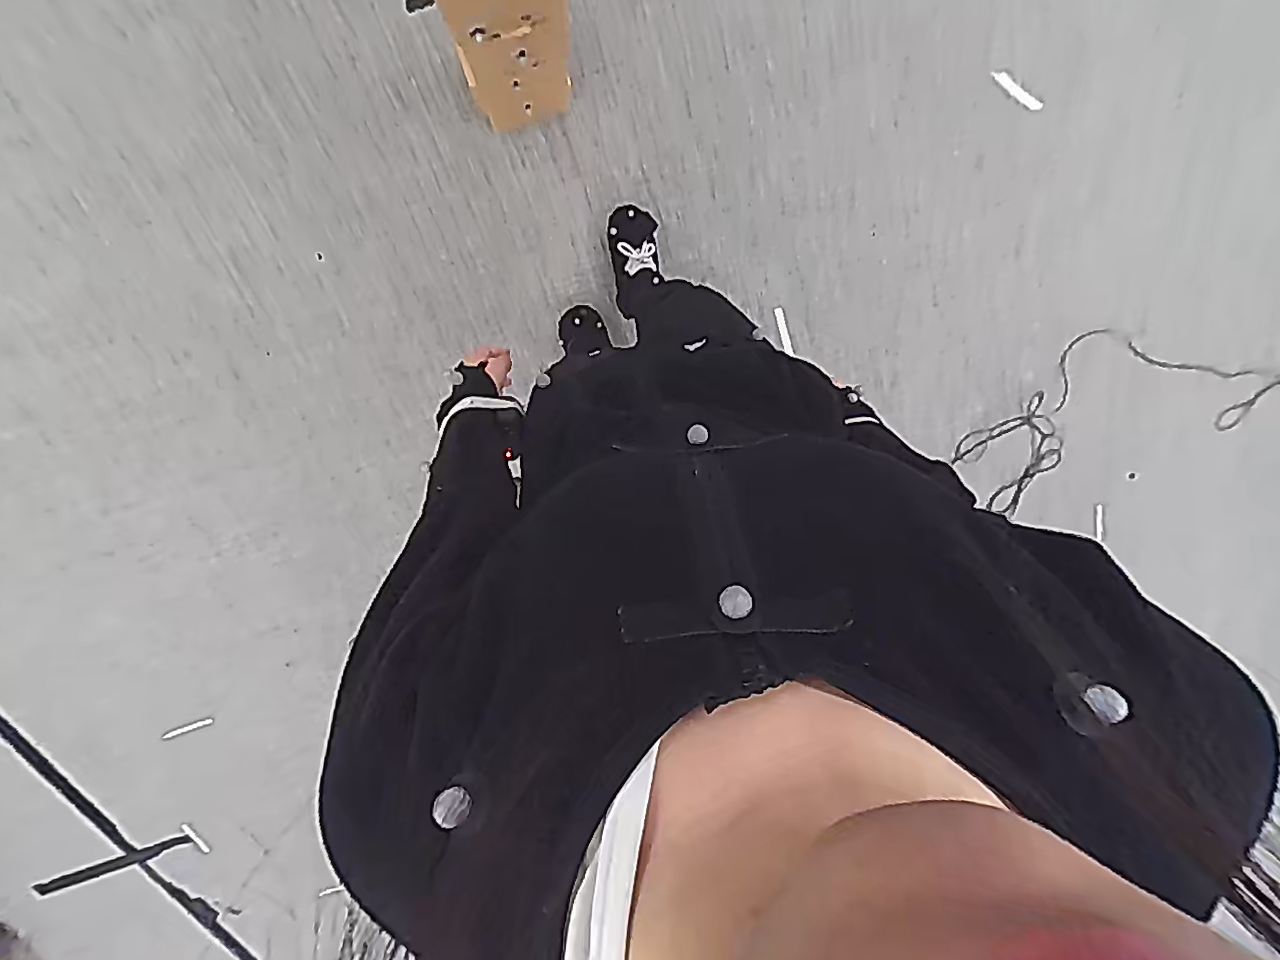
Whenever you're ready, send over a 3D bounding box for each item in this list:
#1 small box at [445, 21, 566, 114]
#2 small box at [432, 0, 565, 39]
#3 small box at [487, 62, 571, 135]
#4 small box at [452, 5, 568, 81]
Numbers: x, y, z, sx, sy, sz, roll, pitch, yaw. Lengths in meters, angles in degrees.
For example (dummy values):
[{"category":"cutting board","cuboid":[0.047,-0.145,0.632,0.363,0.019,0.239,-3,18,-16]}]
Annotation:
[{"category":"small box","cuboid":[-0.237,-0.780,0.957,0.179,0.176,0.168,-17,112,-1]},{"category":"small box","cuboid":[-0.193,-0.675,0.650,0.168,0.176,0.179,-19,110,0]},{"category":"small box","cuboid":[-0.252,-0.841,1.109,0.179,0.176,0.168,-20,111,0]},{"category":"small box","cuboid":[-0.209,-0.730,0.804,0.168,0.176,0.179,-18,112,-1]}]
